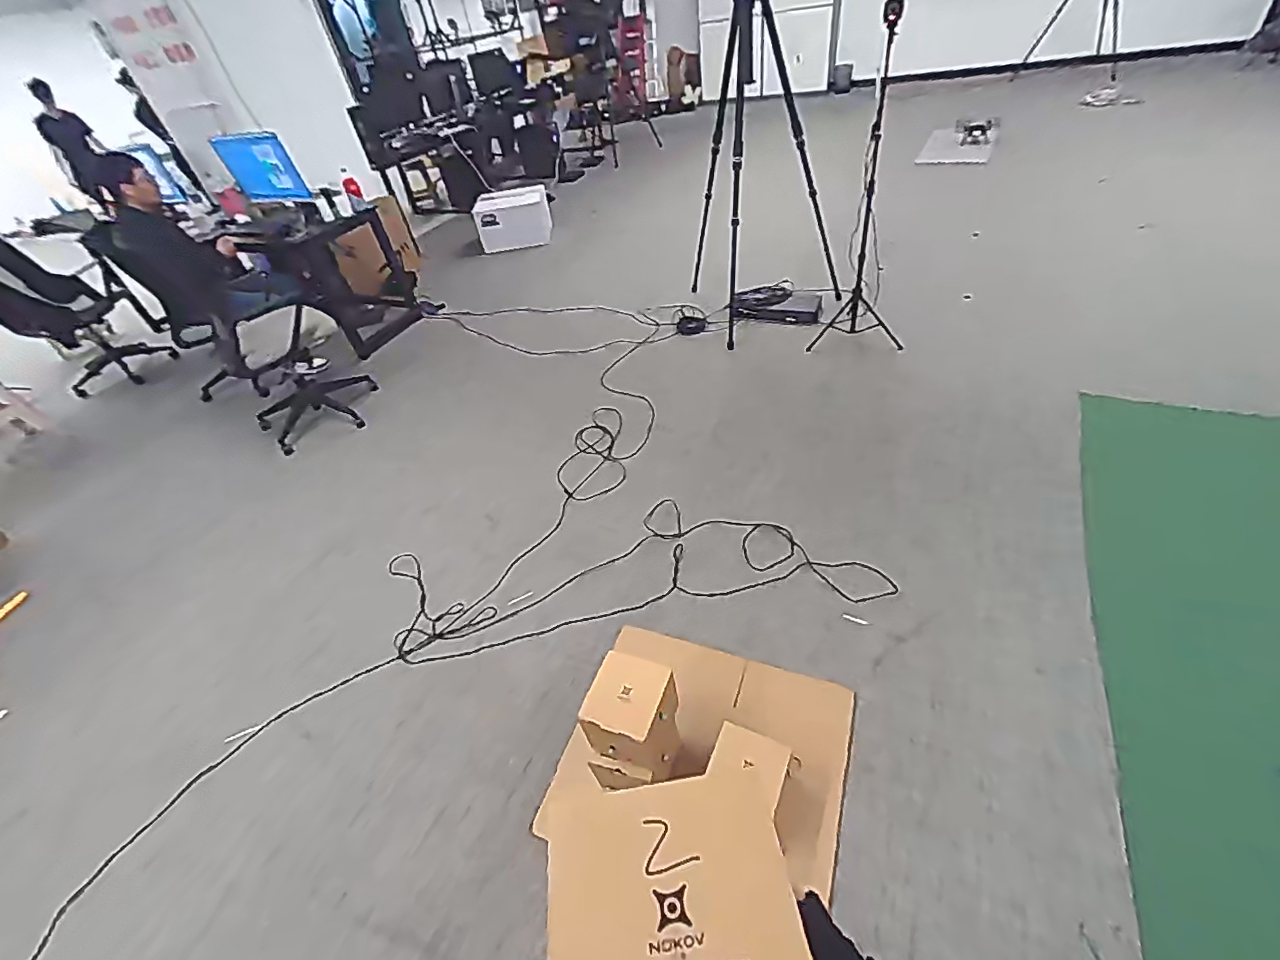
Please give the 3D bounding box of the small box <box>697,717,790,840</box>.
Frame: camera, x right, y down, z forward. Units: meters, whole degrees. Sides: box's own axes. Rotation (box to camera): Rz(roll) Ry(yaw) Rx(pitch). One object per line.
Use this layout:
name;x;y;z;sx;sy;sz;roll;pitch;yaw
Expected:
small box;0.245;0.701;1.271;0.168;0.176;0.179;12;48;25

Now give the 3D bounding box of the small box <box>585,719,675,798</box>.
small box;-0.016;0.666;1.361;0.168;0.176;0.179;8;45;20

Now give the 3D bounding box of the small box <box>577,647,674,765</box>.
small box;-0.025;0.529;1.269;0.168;0.176;0.179;10;46;22
